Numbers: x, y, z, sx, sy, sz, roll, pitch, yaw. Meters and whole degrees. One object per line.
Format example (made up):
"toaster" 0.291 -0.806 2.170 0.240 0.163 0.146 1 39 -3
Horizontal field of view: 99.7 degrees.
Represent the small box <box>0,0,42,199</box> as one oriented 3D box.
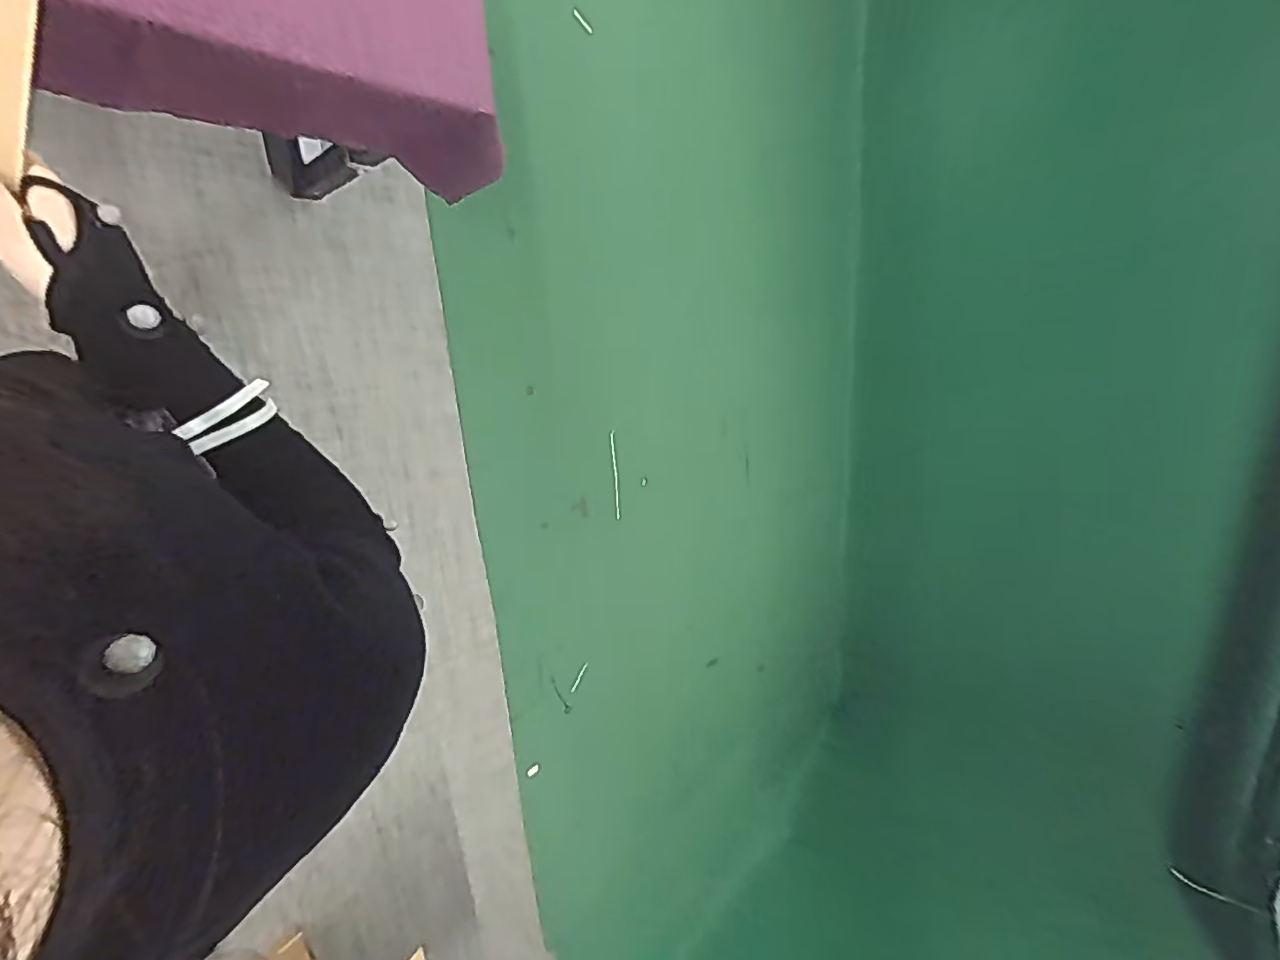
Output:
"small box" -0.484 -0.270 0.302 0.179 0.176 0.168 3 99 -58
